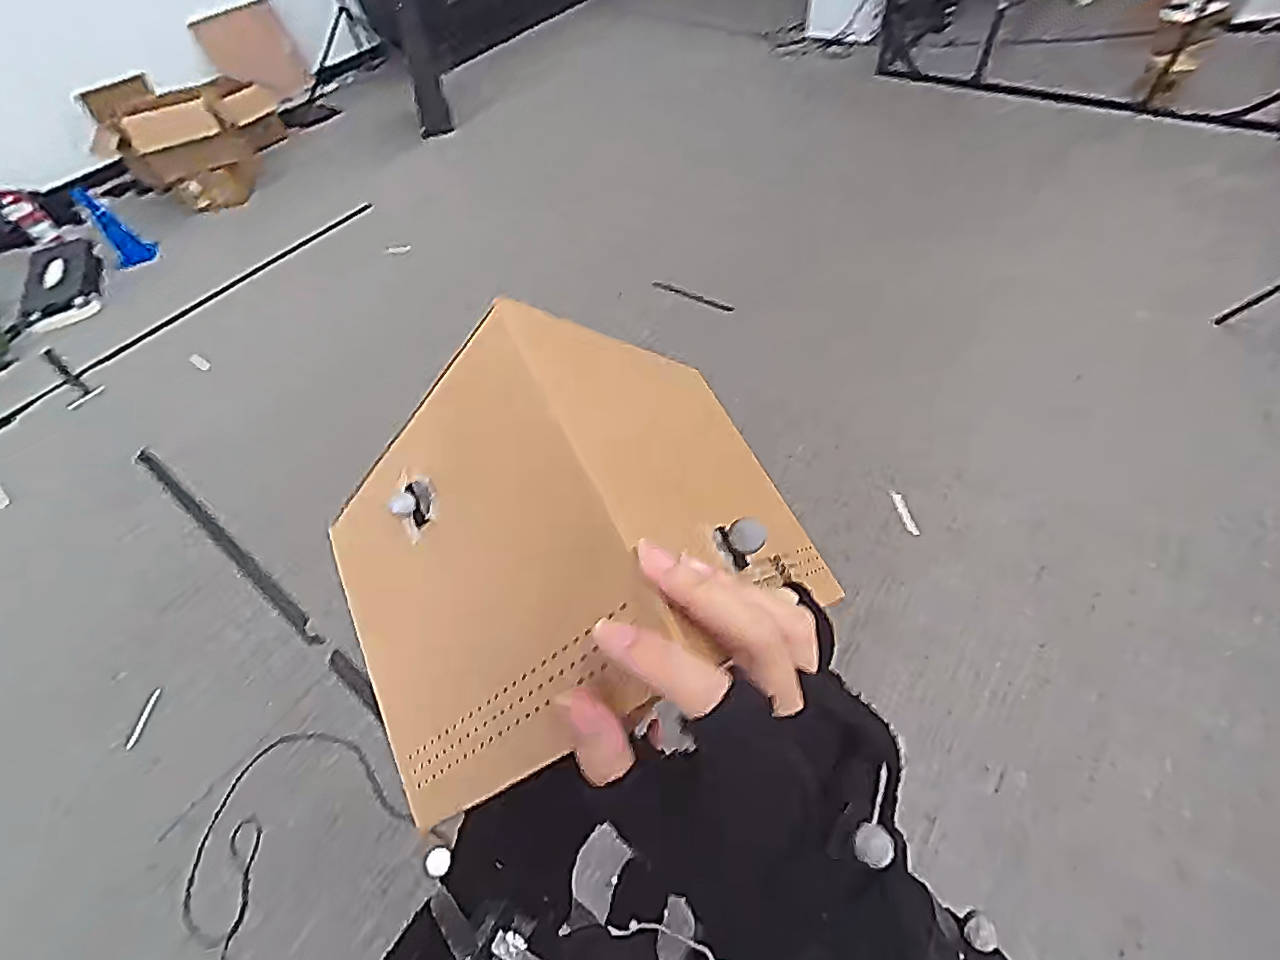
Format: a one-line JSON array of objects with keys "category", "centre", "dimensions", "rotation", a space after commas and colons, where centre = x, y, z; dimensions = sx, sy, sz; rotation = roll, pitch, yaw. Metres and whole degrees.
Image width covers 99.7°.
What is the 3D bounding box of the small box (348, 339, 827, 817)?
[{"category": "small box", "centre": [-0.030, 0.056, 0.310], "dimensions": [0.179, 0.168, 0.176], "rotation": [-40, 68, 27]}]
